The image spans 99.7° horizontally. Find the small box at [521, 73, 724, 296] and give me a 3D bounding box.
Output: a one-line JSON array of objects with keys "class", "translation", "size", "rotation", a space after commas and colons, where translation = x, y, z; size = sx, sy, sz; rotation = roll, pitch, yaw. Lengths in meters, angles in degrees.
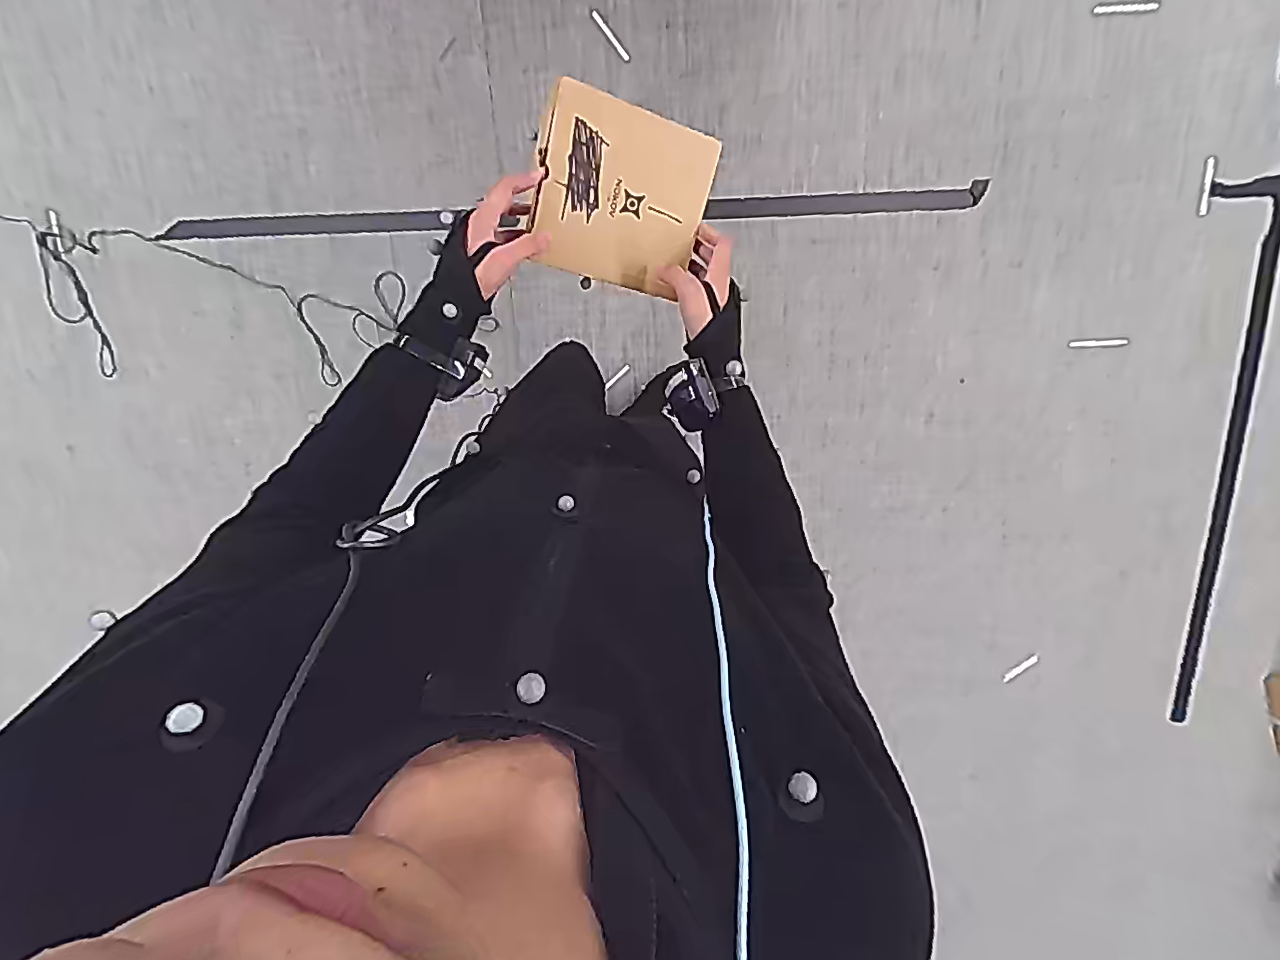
[{"class": "small box", "translation": [-0.034, -0.324, 0.627], "size": [0.179, 0.176, 0.168], "rotation": [9, 111, -21]}]
